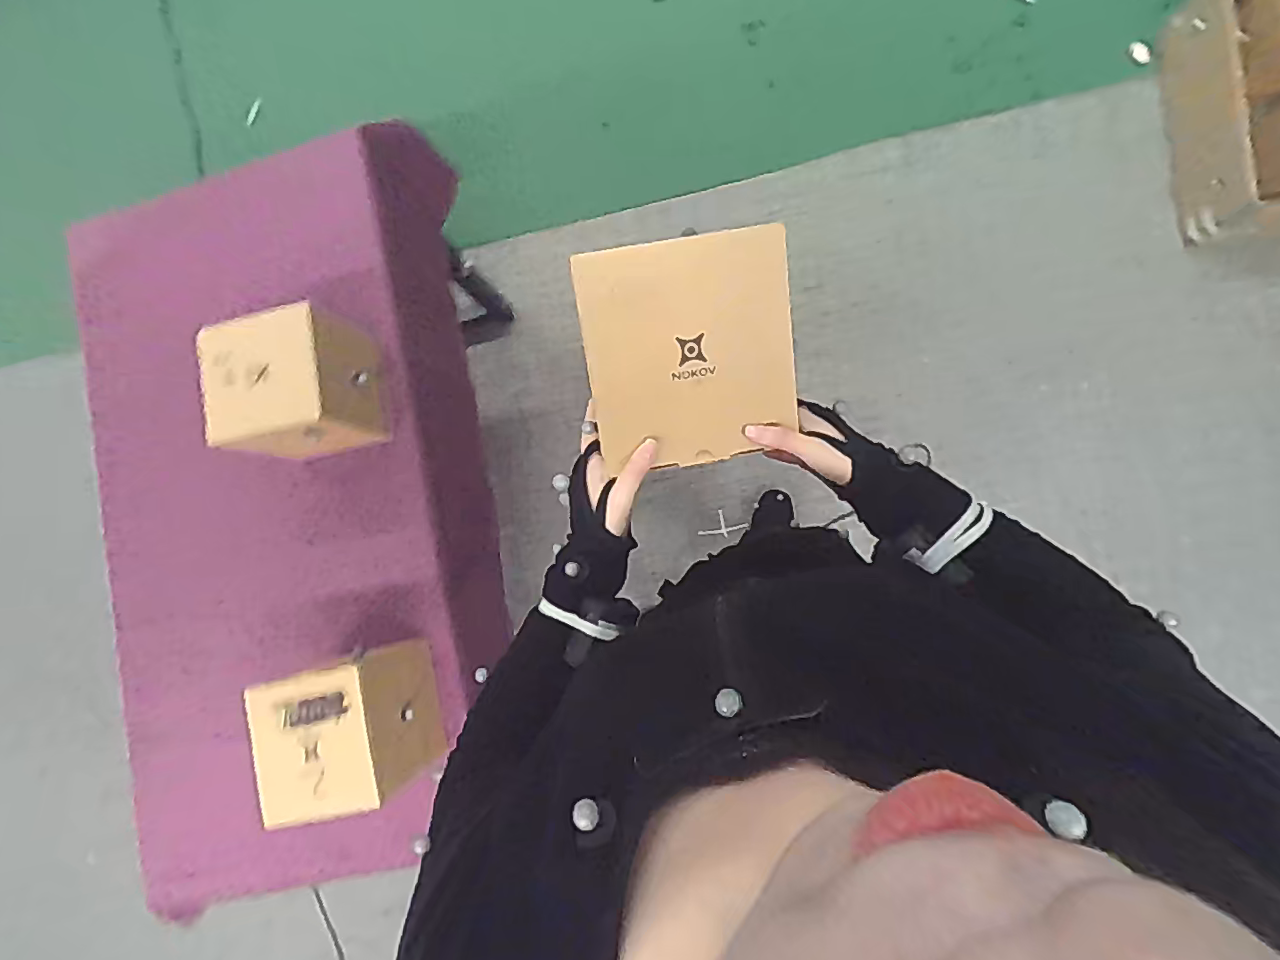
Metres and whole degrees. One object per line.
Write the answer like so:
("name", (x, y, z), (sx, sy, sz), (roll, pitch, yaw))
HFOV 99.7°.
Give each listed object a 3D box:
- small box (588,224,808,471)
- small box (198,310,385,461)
("small box", (0.044, -0.122, 0.504), (0.168, 0.176, 0.179), (-9, 107, -3))
("small box", (-0.508, -0.130, 0.814), (0.179, 0.176, 0.168), (-11, 83, 8))
